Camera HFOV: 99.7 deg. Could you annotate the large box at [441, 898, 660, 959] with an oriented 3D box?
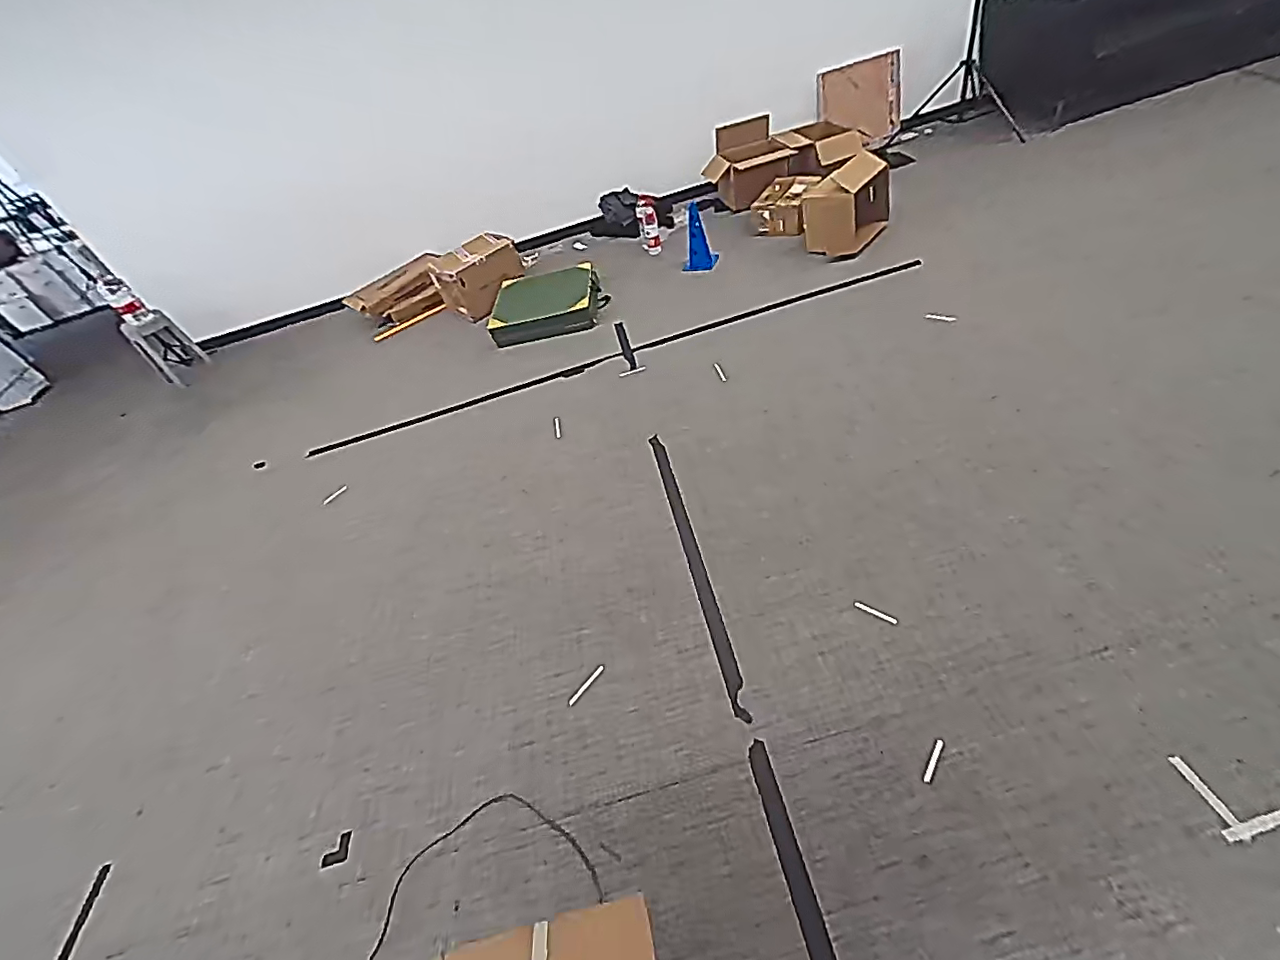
[{"bbox_3d":[-0.084,0.811,0.611,0.320,0.320,0.408,-10,2,-7],"label":"large box"}]
